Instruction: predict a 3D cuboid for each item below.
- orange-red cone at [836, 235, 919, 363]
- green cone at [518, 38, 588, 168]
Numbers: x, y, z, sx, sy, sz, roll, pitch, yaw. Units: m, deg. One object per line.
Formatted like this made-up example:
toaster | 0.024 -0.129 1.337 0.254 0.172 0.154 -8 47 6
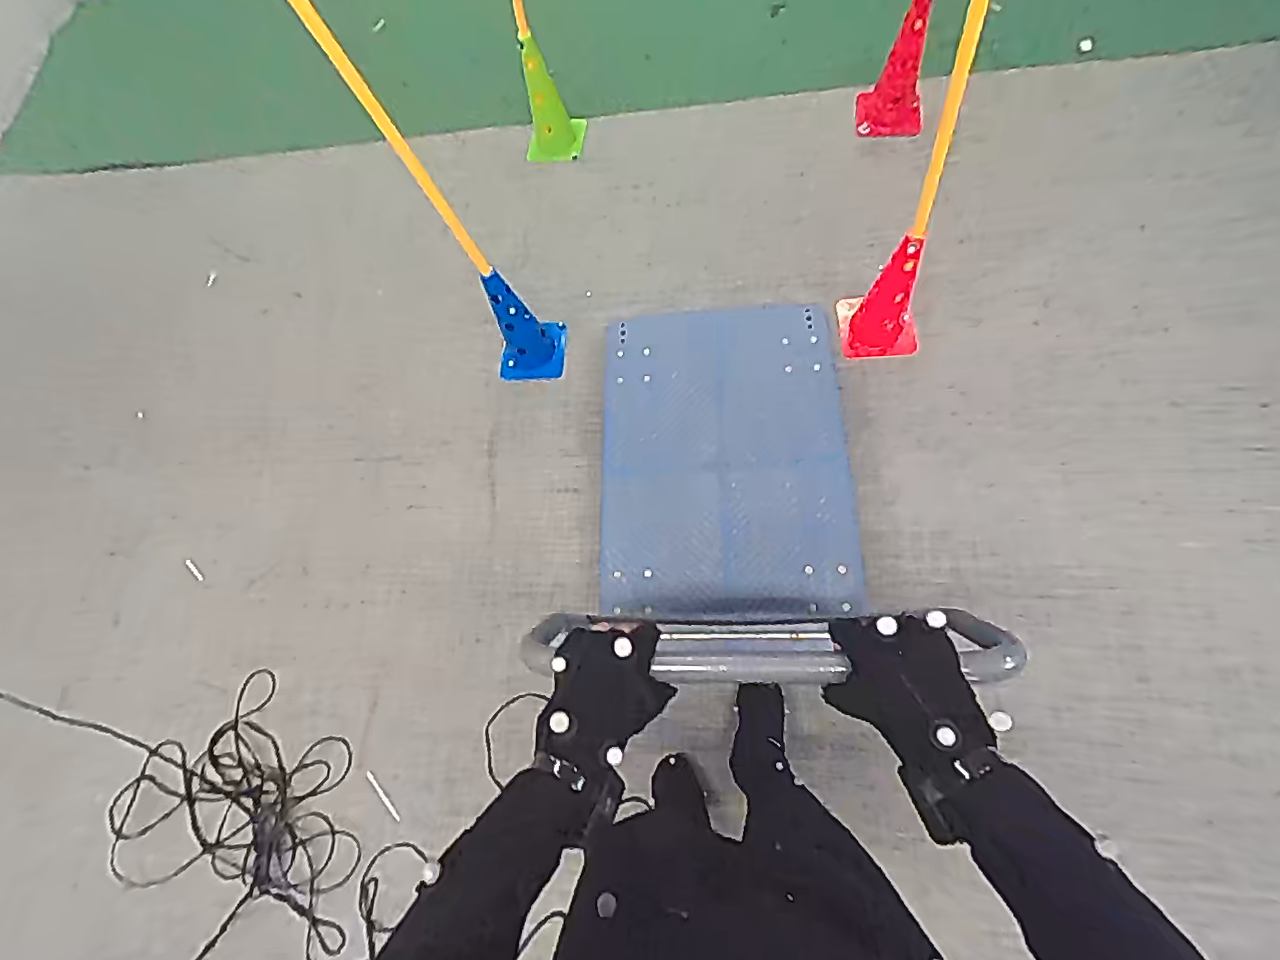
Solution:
orange-red cone | 0.643 -0.482 1.391 0.199 0.360 0.198 -2 70 10
green cone | -0.322 -1.277 1.812 0.202 0.368 0.200 3 71 10
